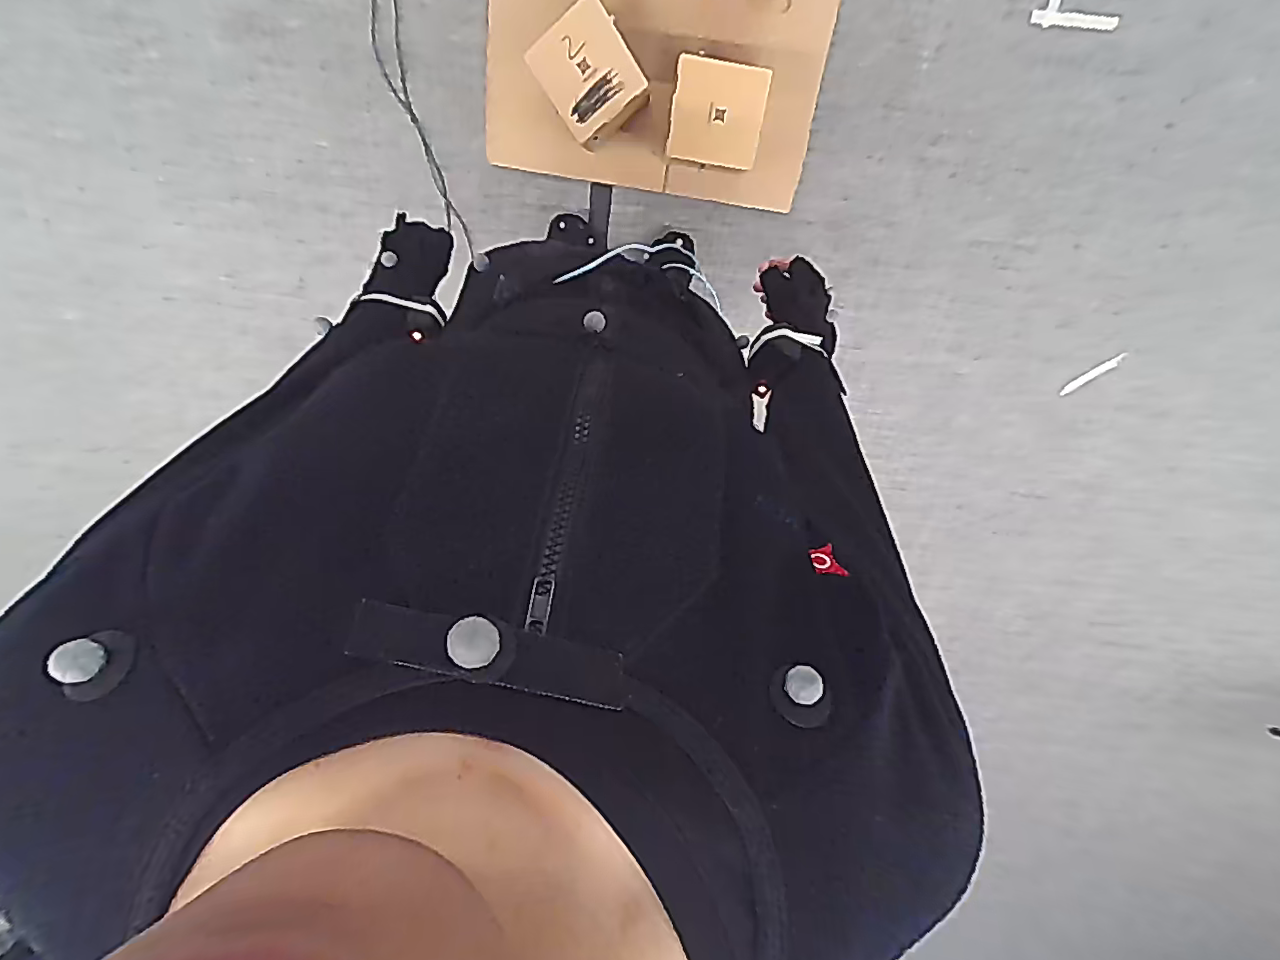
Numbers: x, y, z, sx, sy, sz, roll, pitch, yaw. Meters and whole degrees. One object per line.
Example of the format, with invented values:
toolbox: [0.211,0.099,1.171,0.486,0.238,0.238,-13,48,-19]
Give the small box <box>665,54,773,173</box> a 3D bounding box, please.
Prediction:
small box: [0.151,-0.732,1.098,0.179,0.176,0.168,9,117,-2]
